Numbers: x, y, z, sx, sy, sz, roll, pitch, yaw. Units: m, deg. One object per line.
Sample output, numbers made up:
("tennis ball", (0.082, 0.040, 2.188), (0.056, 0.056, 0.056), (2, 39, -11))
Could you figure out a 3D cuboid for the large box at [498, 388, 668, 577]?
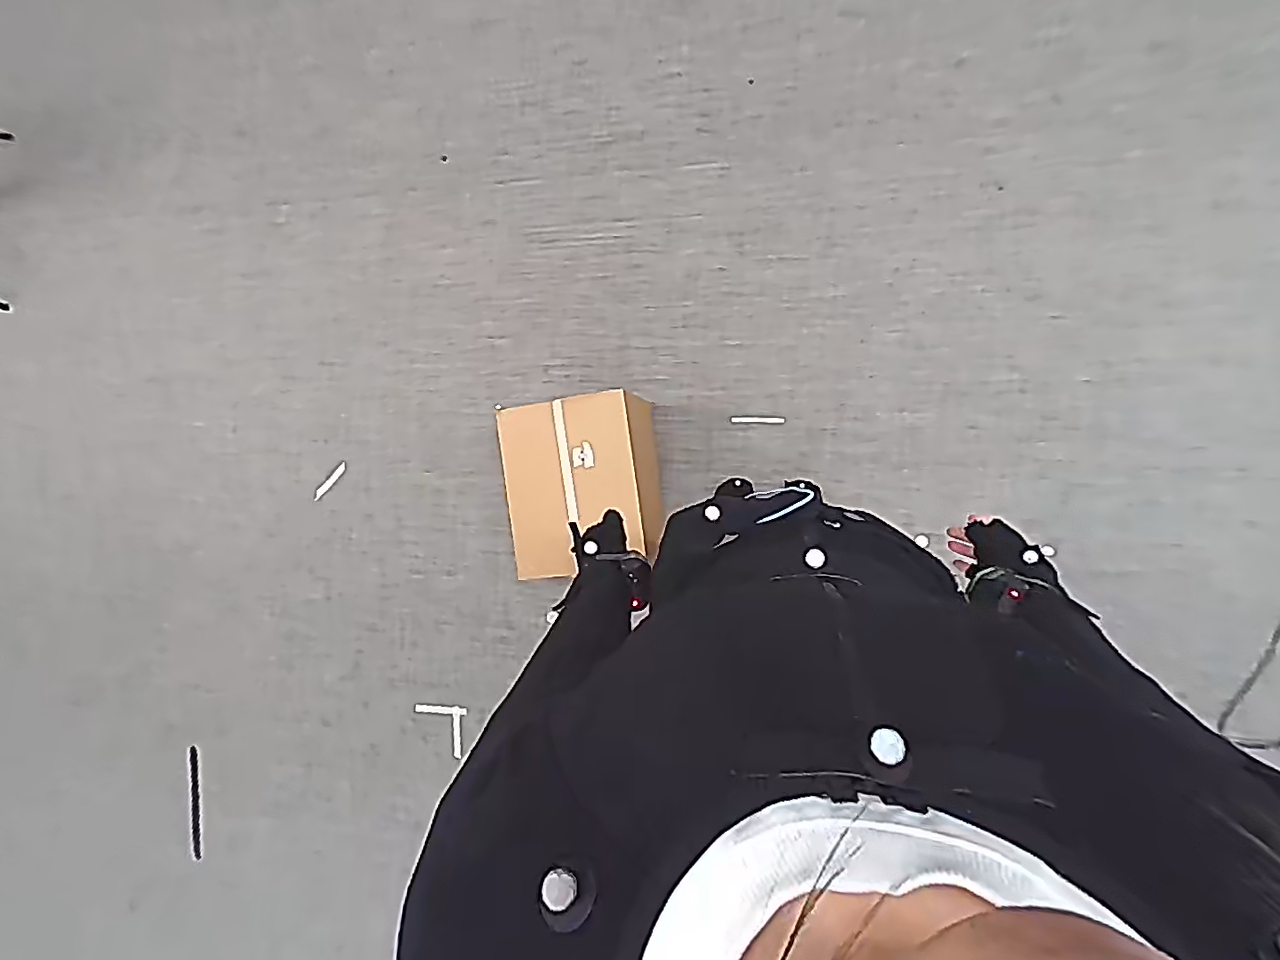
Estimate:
("large box", (-0.127, 0.010, 1.383), (0.320, 0.320, 0.408), (-8, 89, 11))
